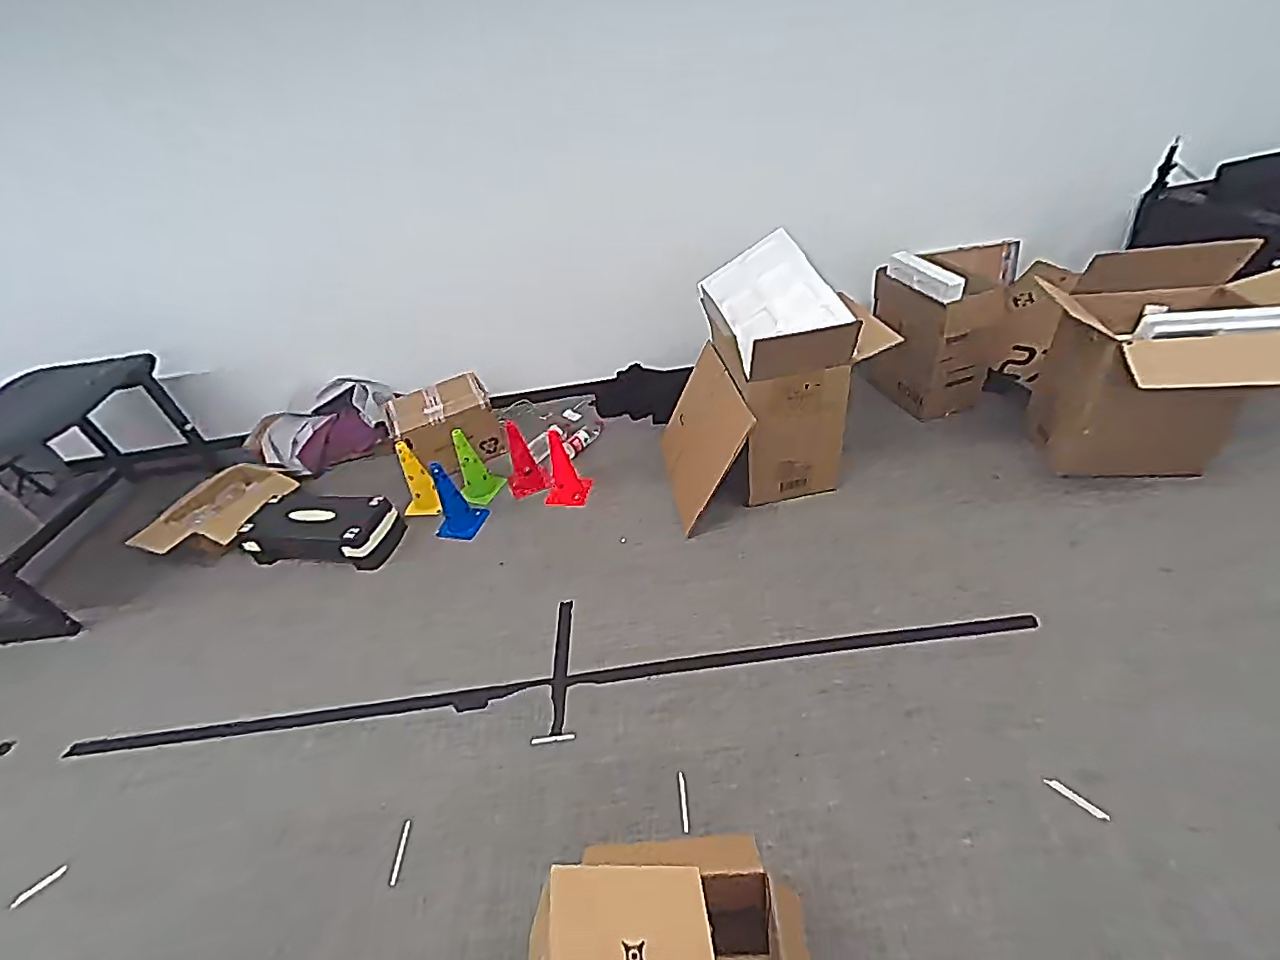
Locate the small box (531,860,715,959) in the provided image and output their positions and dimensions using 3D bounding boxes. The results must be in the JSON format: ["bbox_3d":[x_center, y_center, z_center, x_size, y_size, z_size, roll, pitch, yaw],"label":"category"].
[{"bbox_3d":[-0.024,0.521,0.543,0.168,0.176,0.179,8,30,-10],"label":"small box"}]
